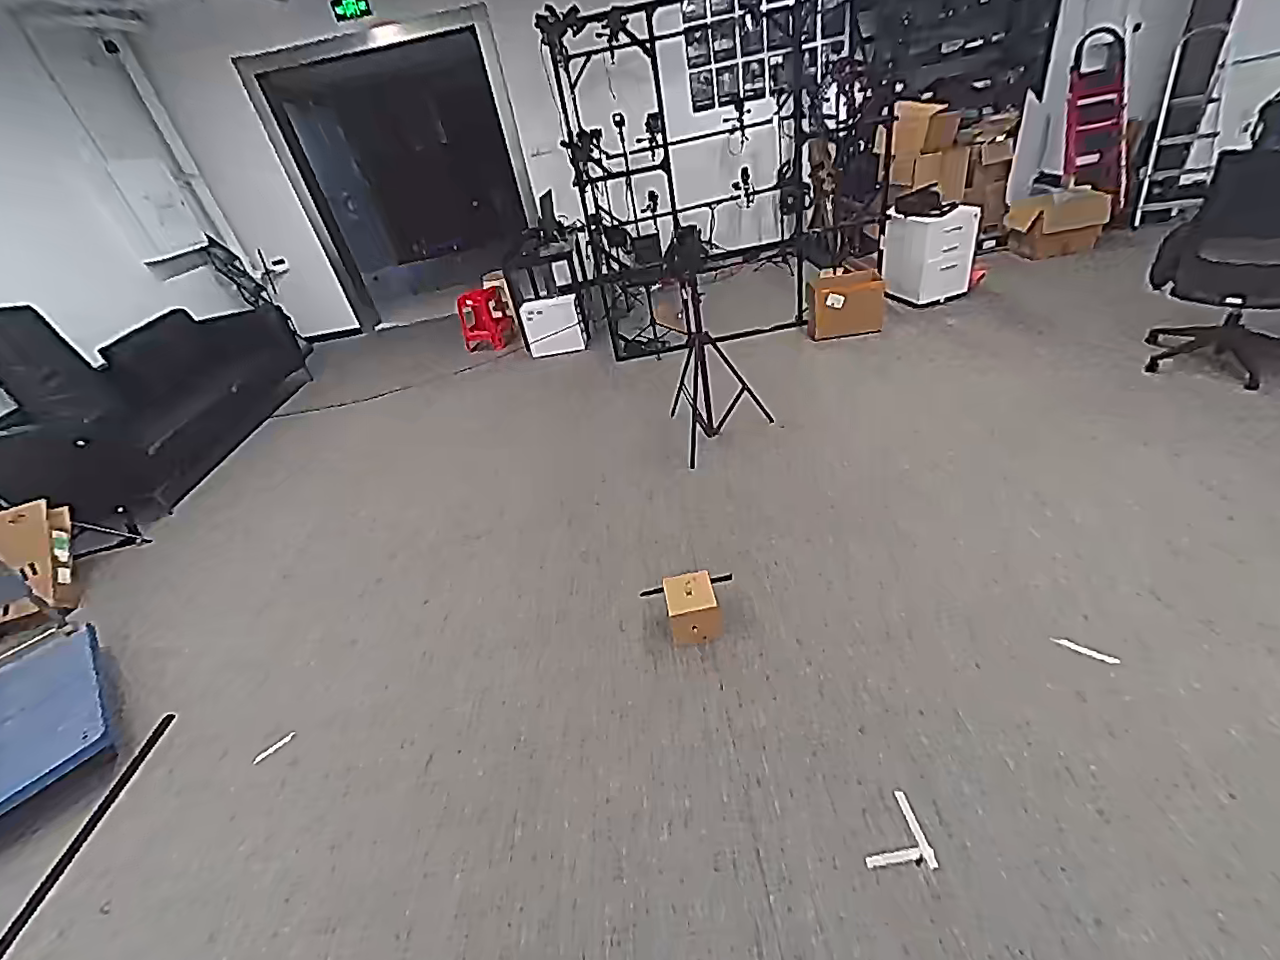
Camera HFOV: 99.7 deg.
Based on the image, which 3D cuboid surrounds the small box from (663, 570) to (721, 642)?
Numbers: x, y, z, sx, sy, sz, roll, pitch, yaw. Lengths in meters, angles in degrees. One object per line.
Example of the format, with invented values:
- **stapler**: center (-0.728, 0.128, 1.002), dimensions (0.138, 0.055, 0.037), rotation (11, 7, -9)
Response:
- **small box**: center (0.184, 0.450, 1.899), dimensions (0.168, 0.176, 0.179), rotation (-12, 33, 1)
